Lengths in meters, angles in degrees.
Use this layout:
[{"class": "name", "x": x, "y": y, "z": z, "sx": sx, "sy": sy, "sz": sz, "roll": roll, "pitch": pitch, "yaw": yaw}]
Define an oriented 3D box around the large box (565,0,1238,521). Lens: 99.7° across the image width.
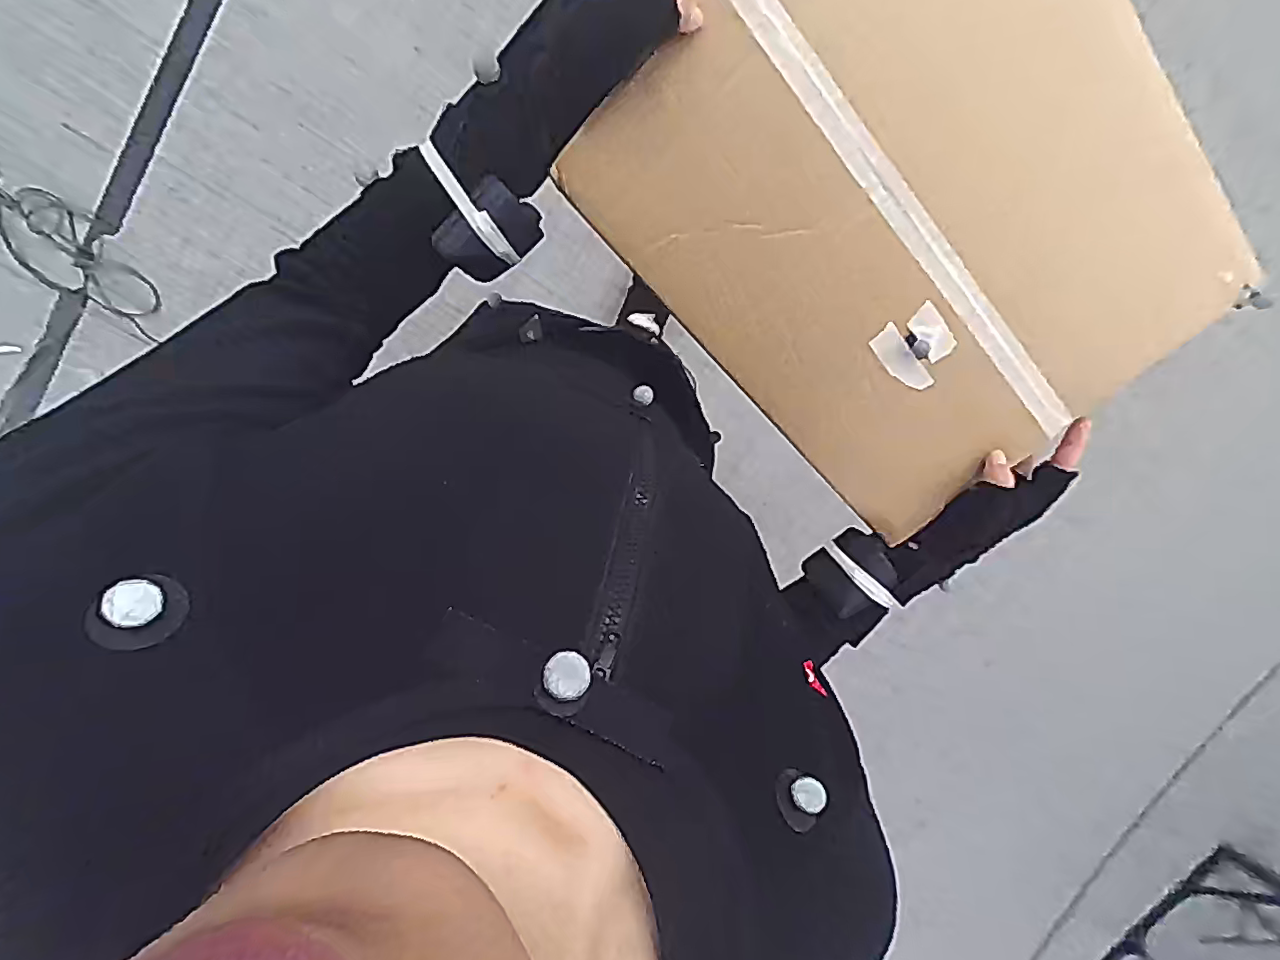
[{"class": "large box", "x": 0.191, "y": -0.246, "z": 0.517, "sx": 0.320, "sy": 0.320, "sz": 0.408, "roll": -41, "pitch": 108, "yaw": 18}]
